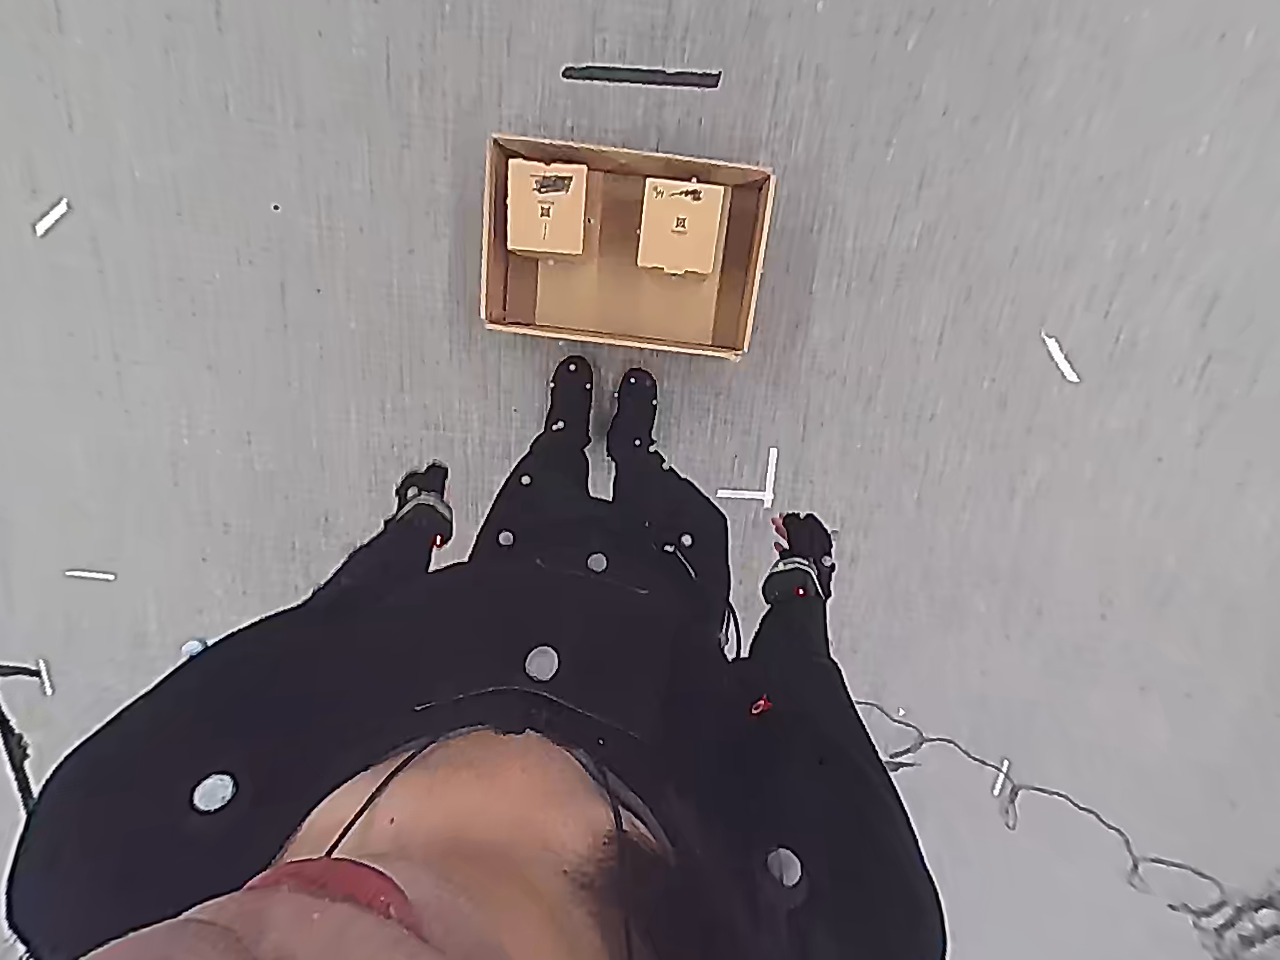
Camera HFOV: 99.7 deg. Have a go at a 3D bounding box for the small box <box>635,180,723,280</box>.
[{"bbox_3d":[0.085,-0.552,1.216,0.168,0.176,0.179,7,107,0],"label":"small box"}]
